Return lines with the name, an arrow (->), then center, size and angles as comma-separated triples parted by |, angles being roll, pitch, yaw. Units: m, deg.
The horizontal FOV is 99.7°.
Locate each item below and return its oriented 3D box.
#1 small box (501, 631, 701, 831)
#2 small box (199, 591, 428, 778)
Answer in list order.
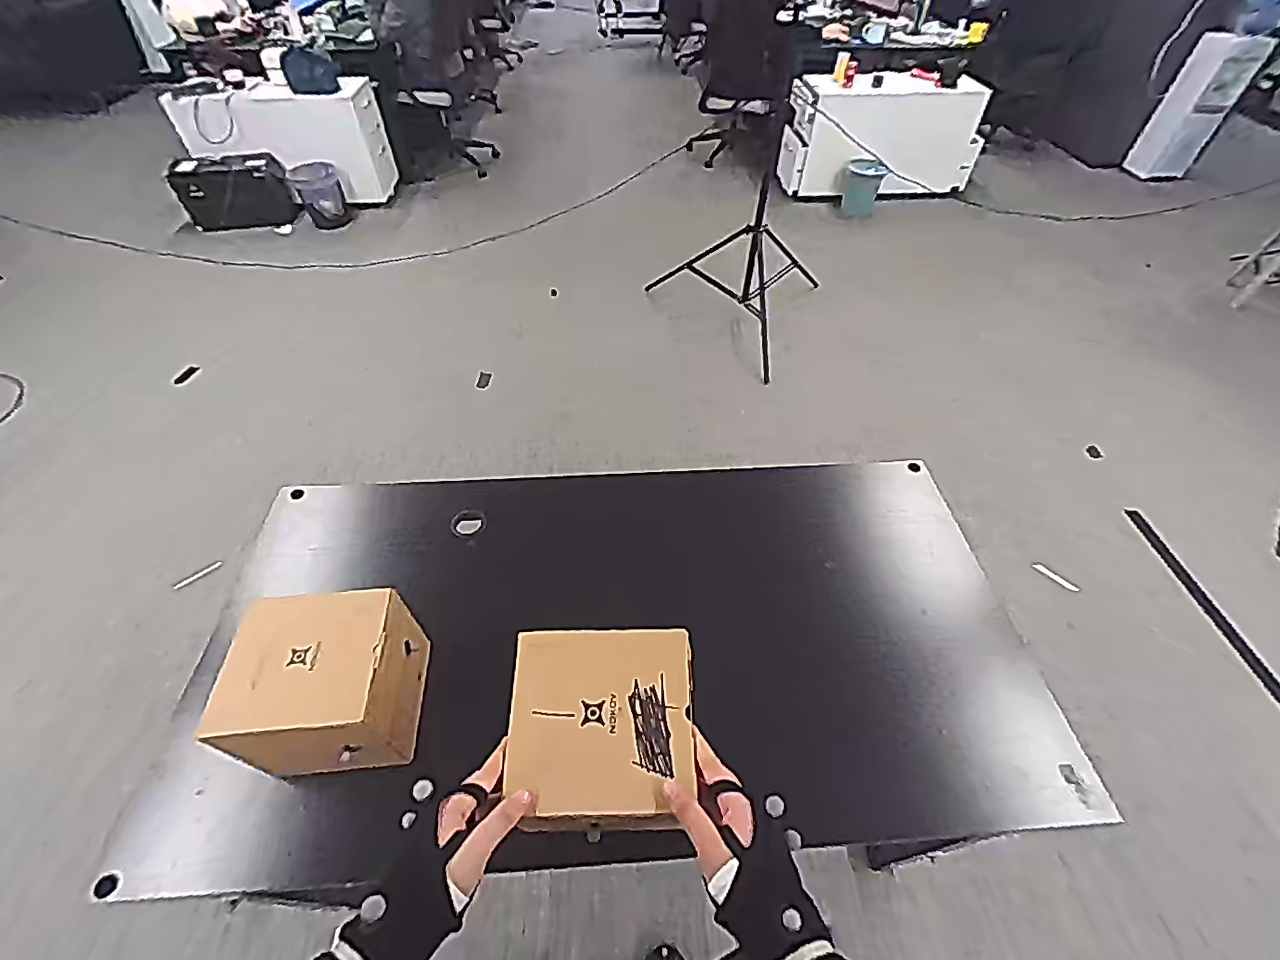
small box -> -0.035, 0.270, 0.577 | 0.179, 0.176, 0.168 | 0, 54, -1
small box -> -0.386, 0.260, 0.684 | 0.179, 0.176, 0.168 | -5, 48, -4
